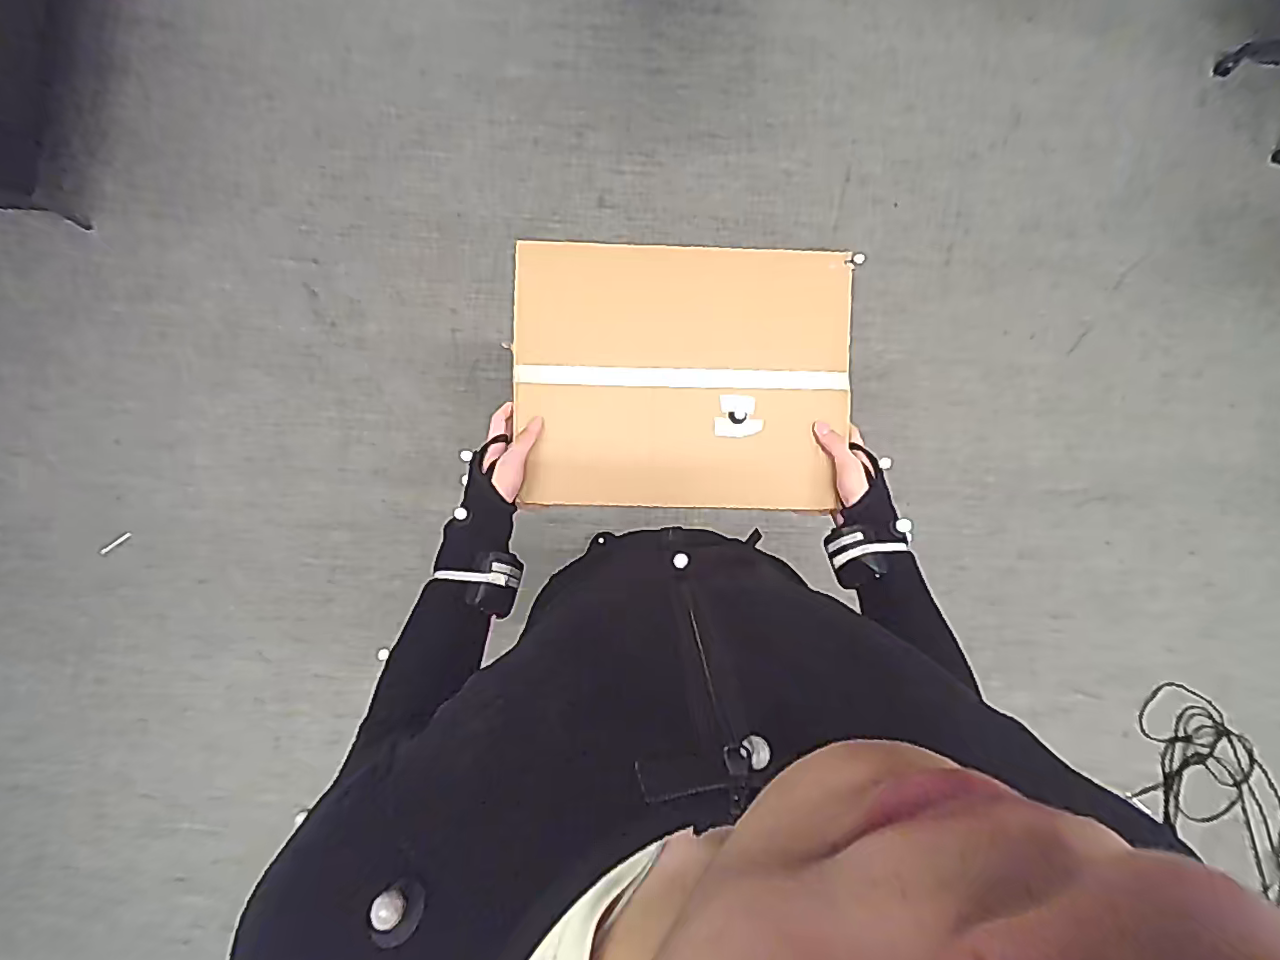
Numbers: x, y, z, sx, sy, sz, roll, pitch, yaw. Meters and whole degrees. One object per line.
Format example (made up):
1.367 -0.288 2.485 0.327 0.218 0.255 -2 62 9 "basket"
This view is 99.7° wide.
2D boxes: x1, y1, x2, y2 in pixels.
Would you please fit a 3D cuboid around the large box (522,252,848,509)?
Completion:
0.050 -0.124 0.807 0.408 0.320 0.320 0 92 -2 "large box"
